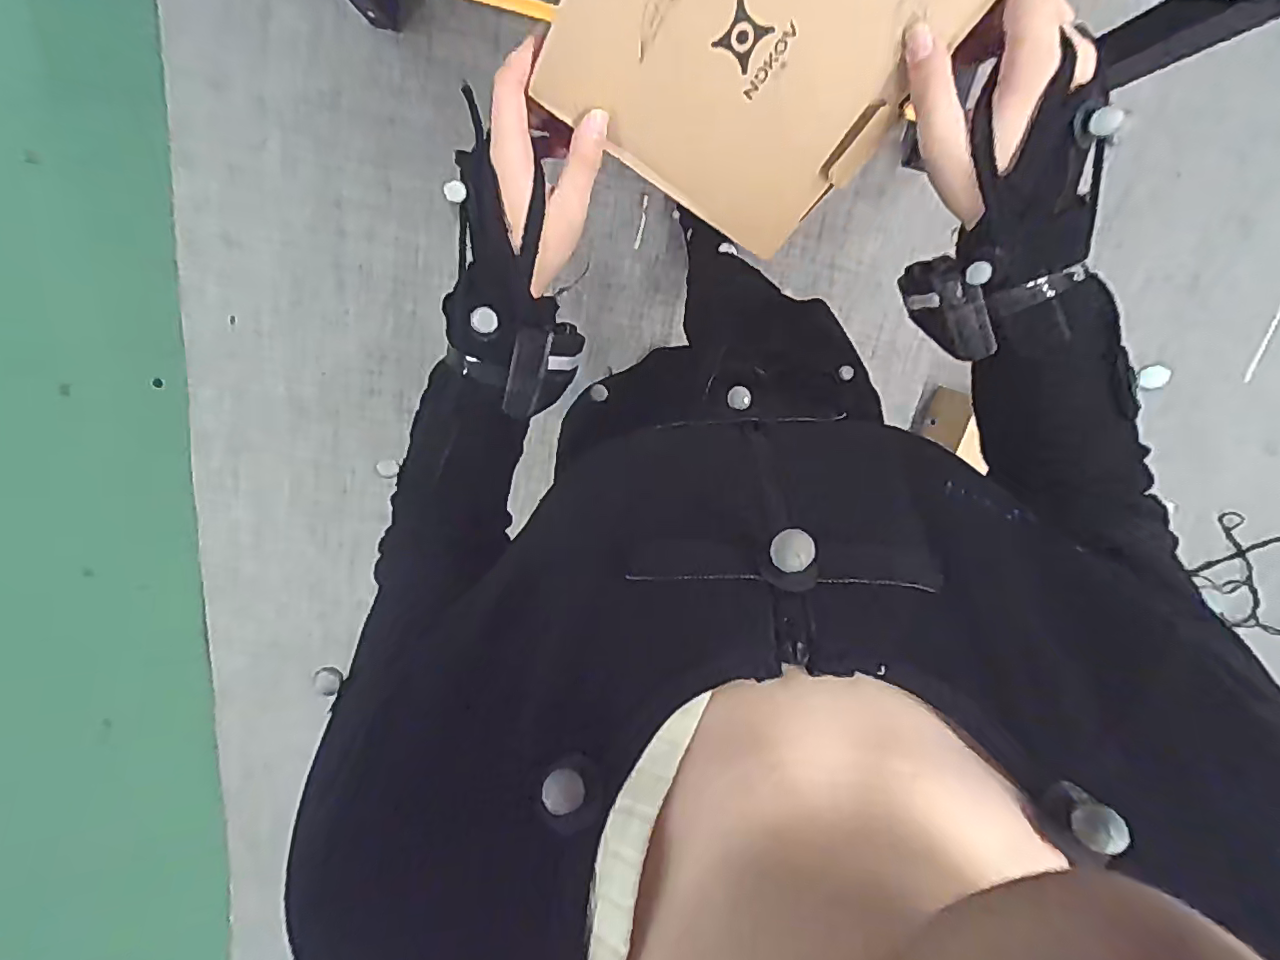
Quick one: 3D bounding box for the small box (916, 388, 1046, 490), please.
[{"bbox_3d":[0.783,-0.101,1.268,0.168,0.176,0.179,13,109,-5],"label":"small box"}]
